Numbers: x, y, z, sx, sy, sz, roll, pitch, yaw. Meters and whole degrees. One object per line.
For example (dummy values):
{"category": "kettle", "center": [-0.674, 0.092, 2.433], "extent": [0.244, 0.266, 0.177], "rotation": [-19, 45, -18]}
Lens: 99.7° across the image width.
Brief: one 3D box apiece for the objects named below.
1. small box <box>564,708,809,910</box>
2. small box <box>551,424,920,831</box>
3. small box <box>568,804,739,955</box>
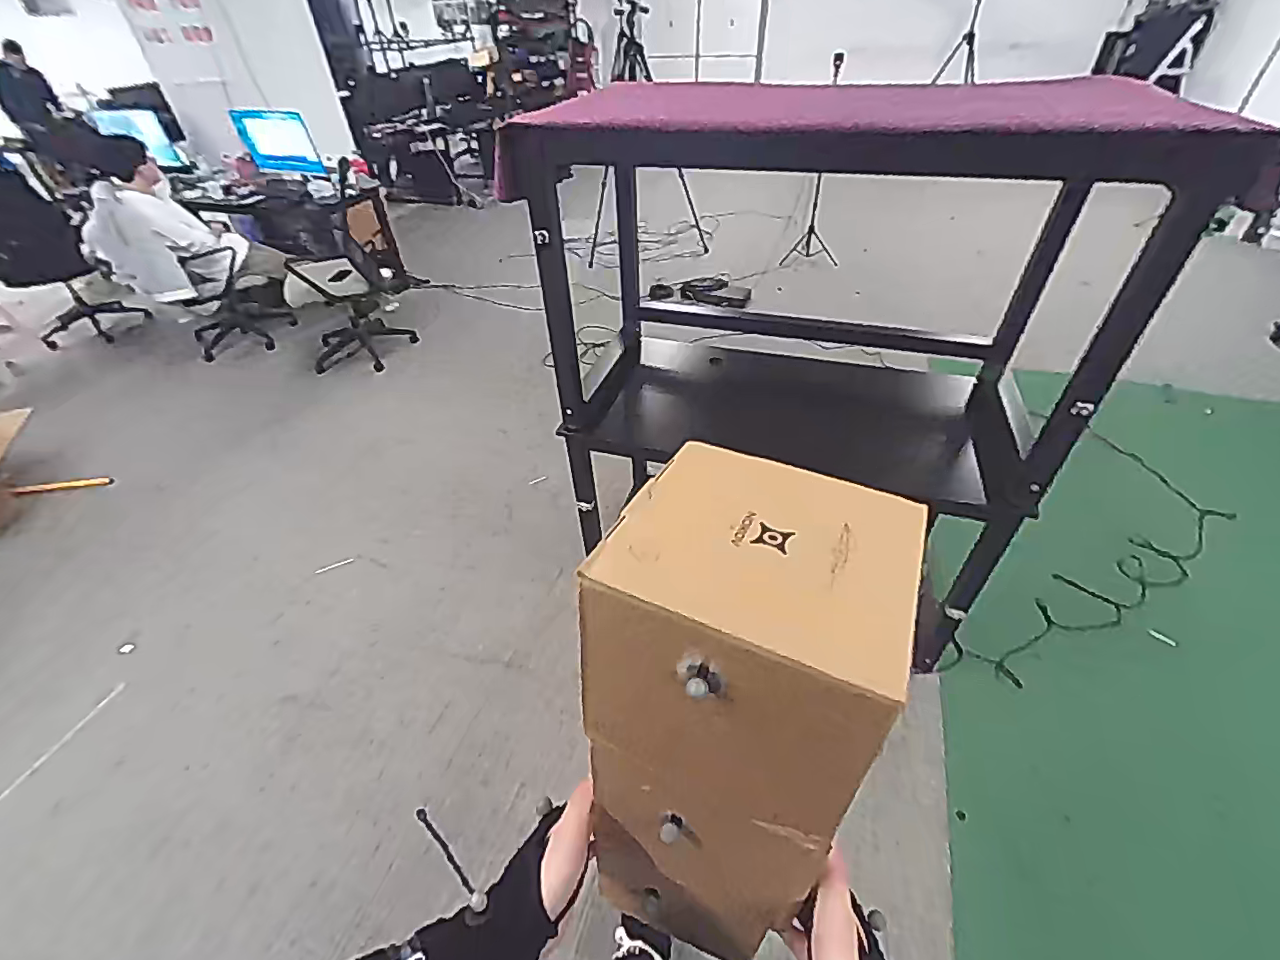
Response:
{"category": "small box", "center": [0.052, 0.219, 0.463], "extent": [0.179, 0.176, 0.168], "rotation": [17, 38, 18]}
{"category": "small box", "center": [0.060, 0.089, 0.362], "extent": [0.179, 0.176, 0.168], "rotation": [20, 39, 21]}
{"category": "small box", "center": [0.040, 0.344, 0.569], "extent": [0.168, 0.176, 0.179], "rotation": [16, 38, 16]}
